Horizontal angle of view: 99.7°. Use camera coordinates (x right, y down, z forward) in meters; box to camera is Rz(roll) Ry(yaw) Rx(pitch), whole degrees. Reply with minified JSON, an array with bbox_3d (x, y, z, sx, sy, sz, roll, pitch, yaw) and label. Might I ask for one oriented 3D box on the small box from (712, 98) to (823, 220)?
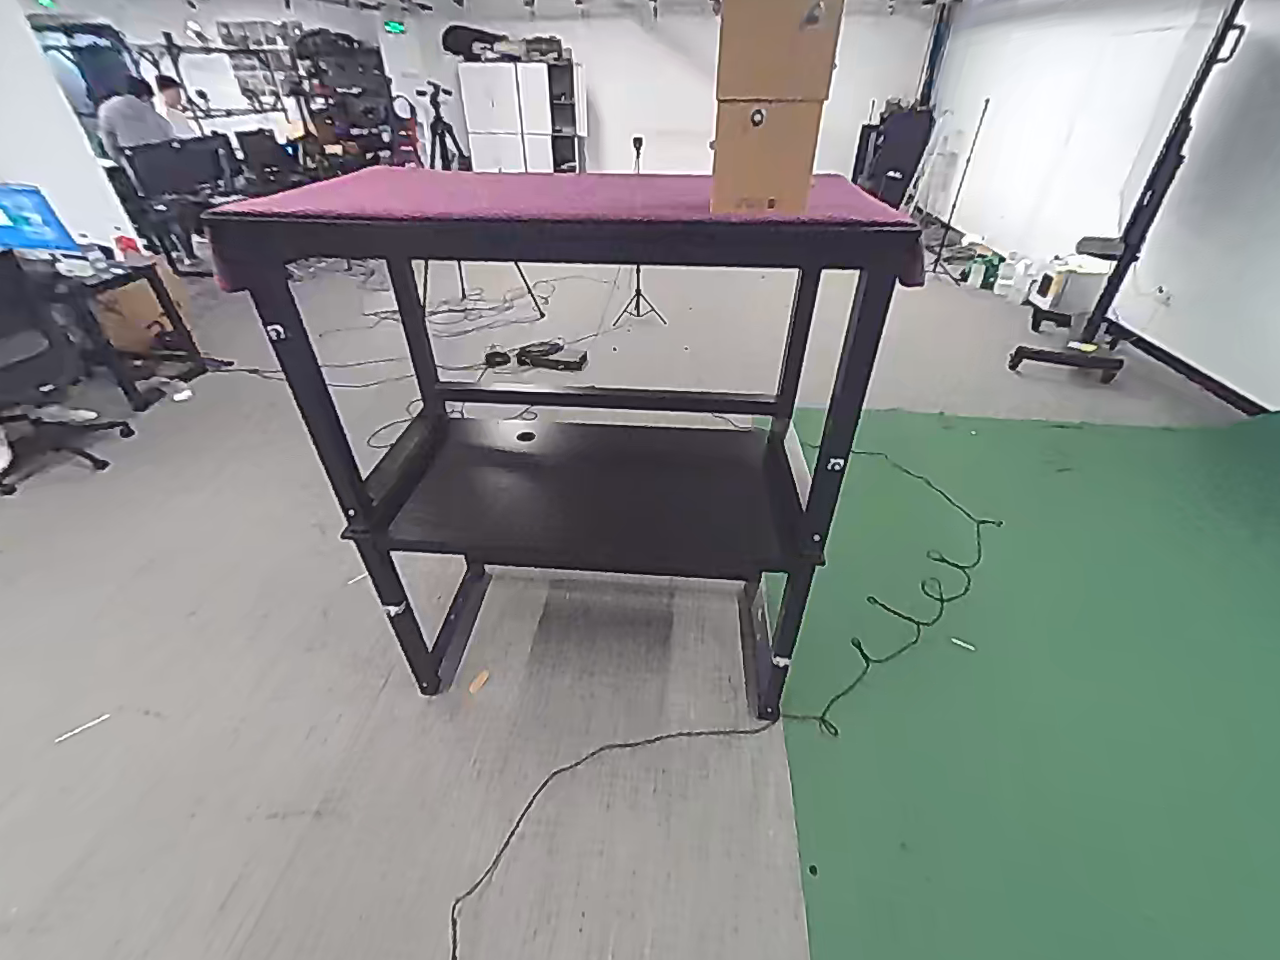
[{"bbox_3d":[0.216,-0.570,0.955,0.168,0.176,0.179,4,36,8],"label":"small box"}]
